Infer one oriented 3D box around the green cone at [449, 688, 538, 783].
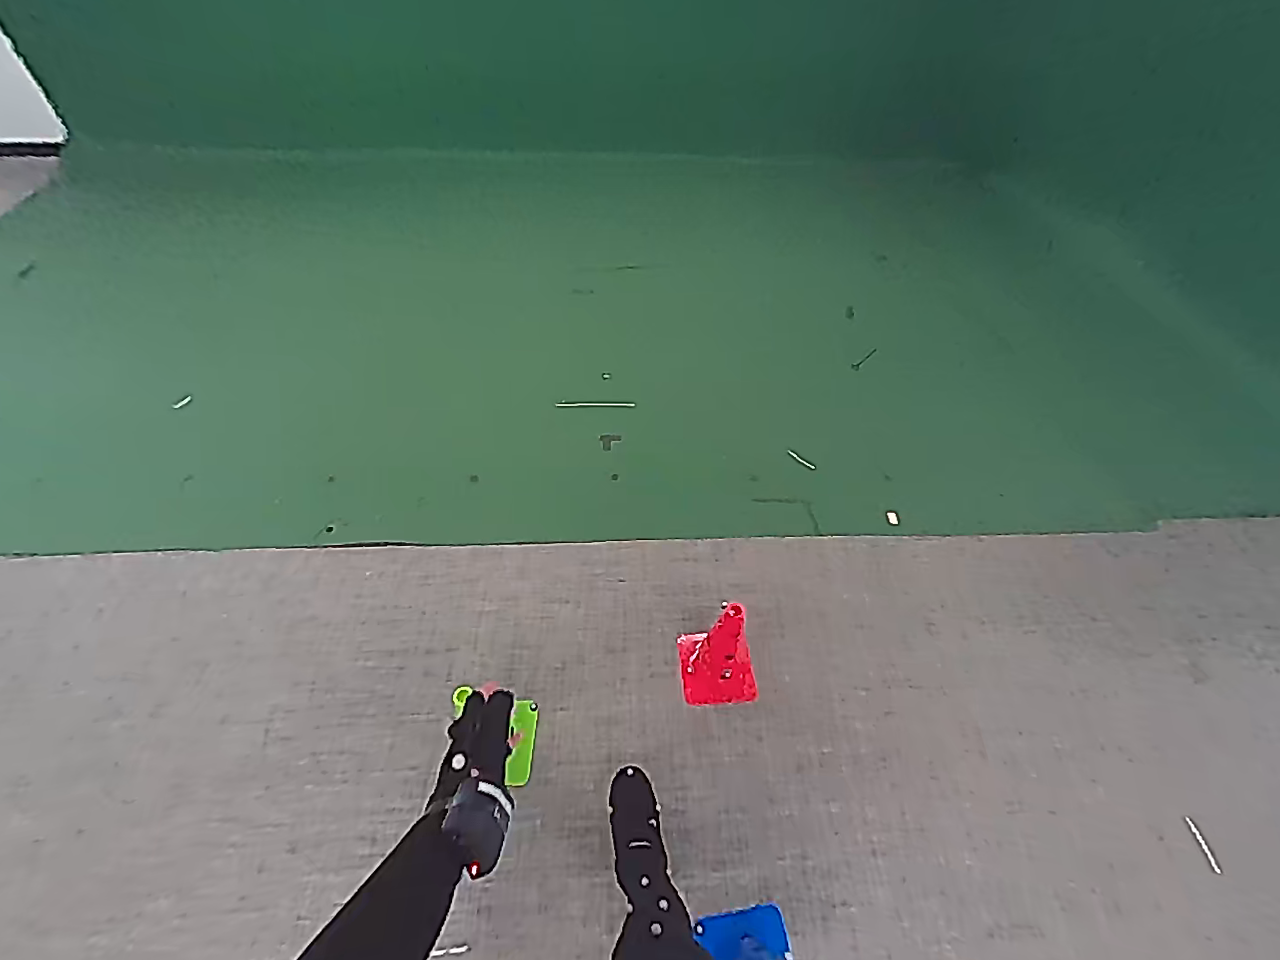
[{"bbox_3d":[-0.365,0.545,1.232,0.200,0.368,0.202,1,52,-1],"label":"green cone"}]
